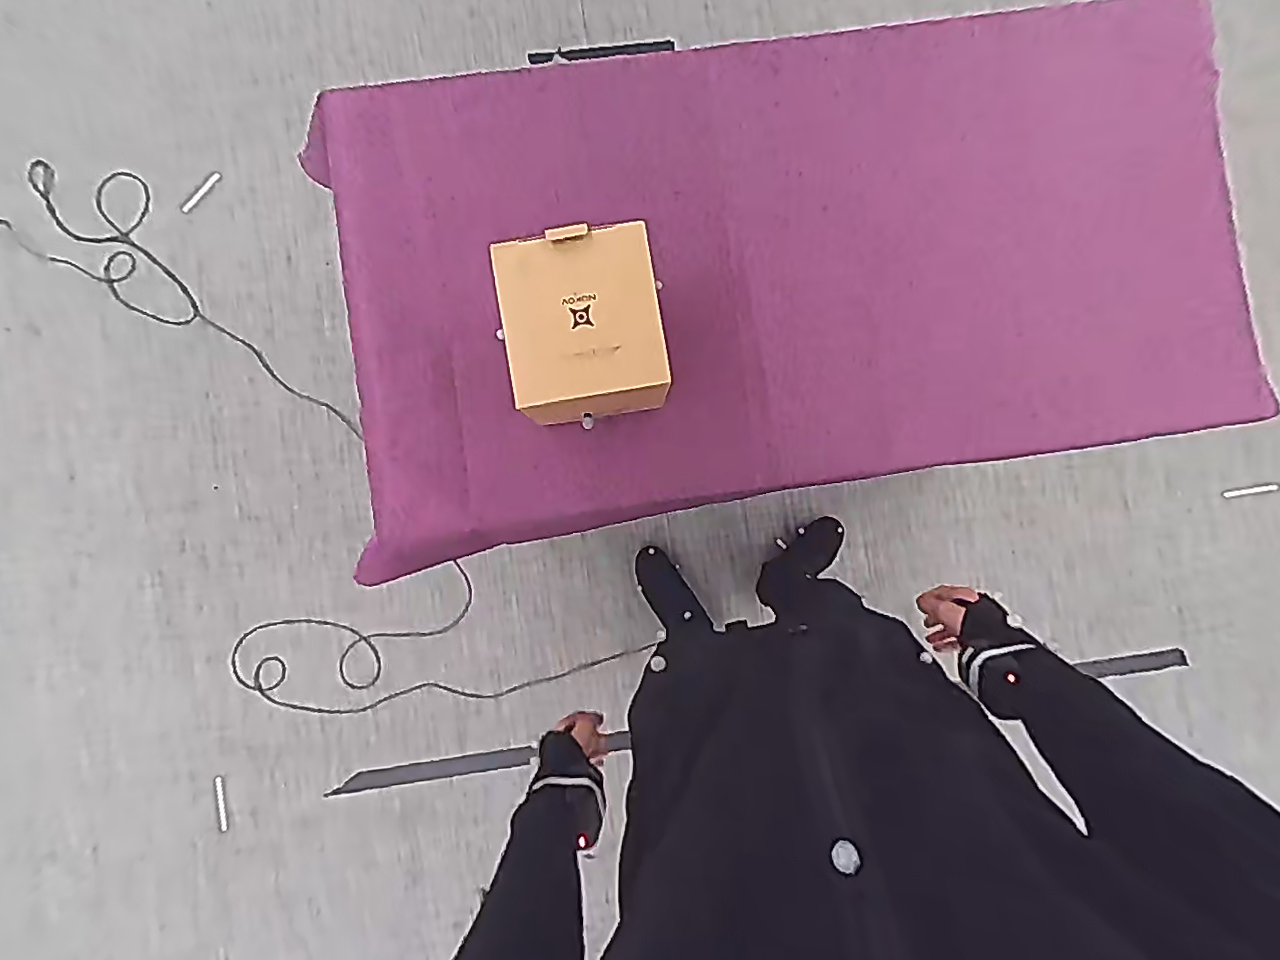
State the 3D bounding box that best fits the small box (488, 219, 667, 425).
[{"bbox_3d":[-0.066,-0.170,0.632,0.168,0.176,0.179,-9,89,-1],"label":"small box"}]
